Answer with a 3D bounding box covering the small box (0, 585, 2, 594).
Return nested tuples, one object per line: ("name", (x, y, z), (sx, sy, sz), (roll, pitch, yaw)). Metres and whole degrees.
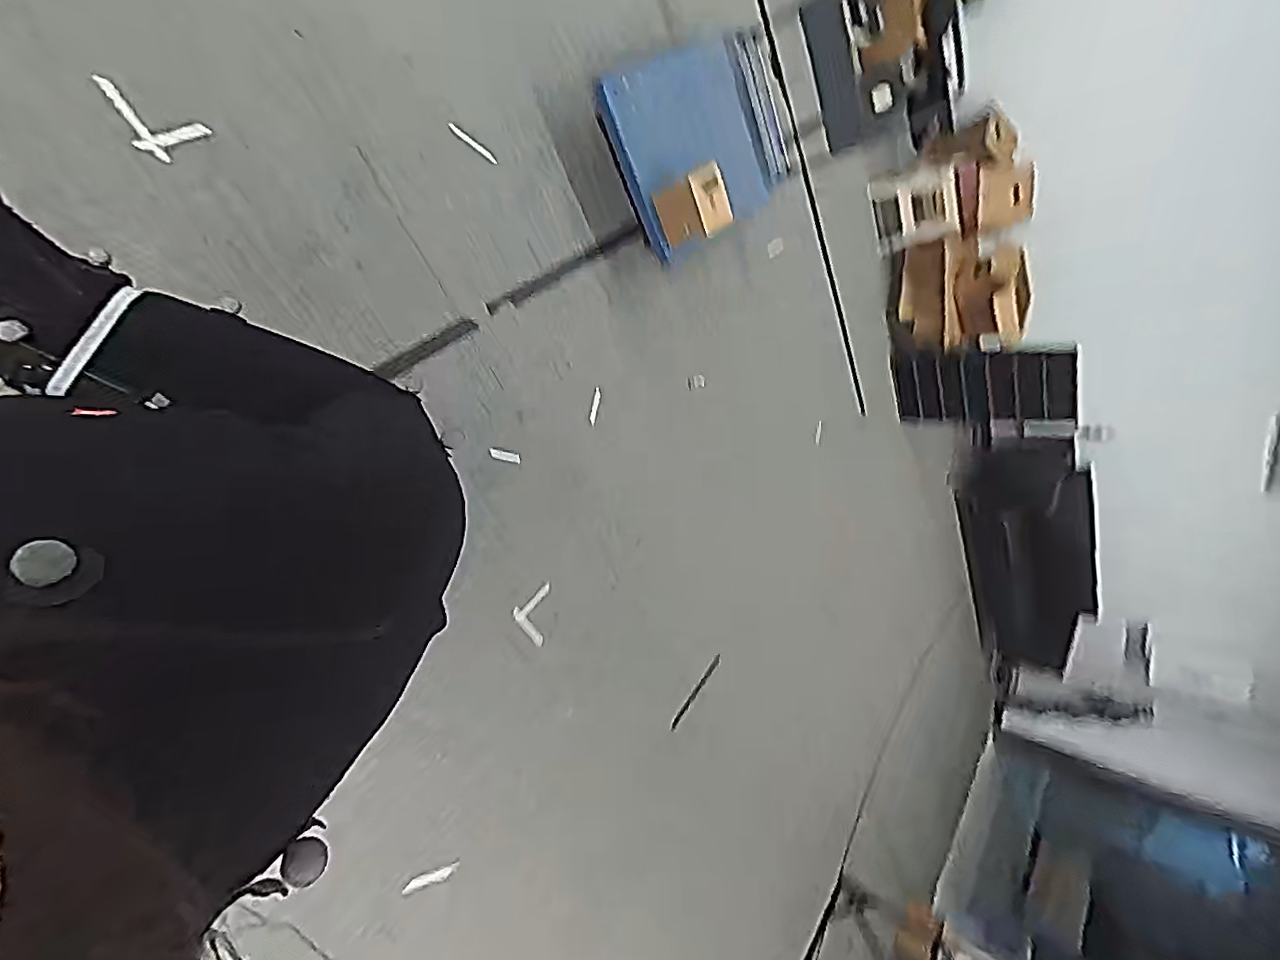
("small box", (-1.218, 0.201, 0.881), (0.179, 0.176, 0.168), (-50, 125, -27))
